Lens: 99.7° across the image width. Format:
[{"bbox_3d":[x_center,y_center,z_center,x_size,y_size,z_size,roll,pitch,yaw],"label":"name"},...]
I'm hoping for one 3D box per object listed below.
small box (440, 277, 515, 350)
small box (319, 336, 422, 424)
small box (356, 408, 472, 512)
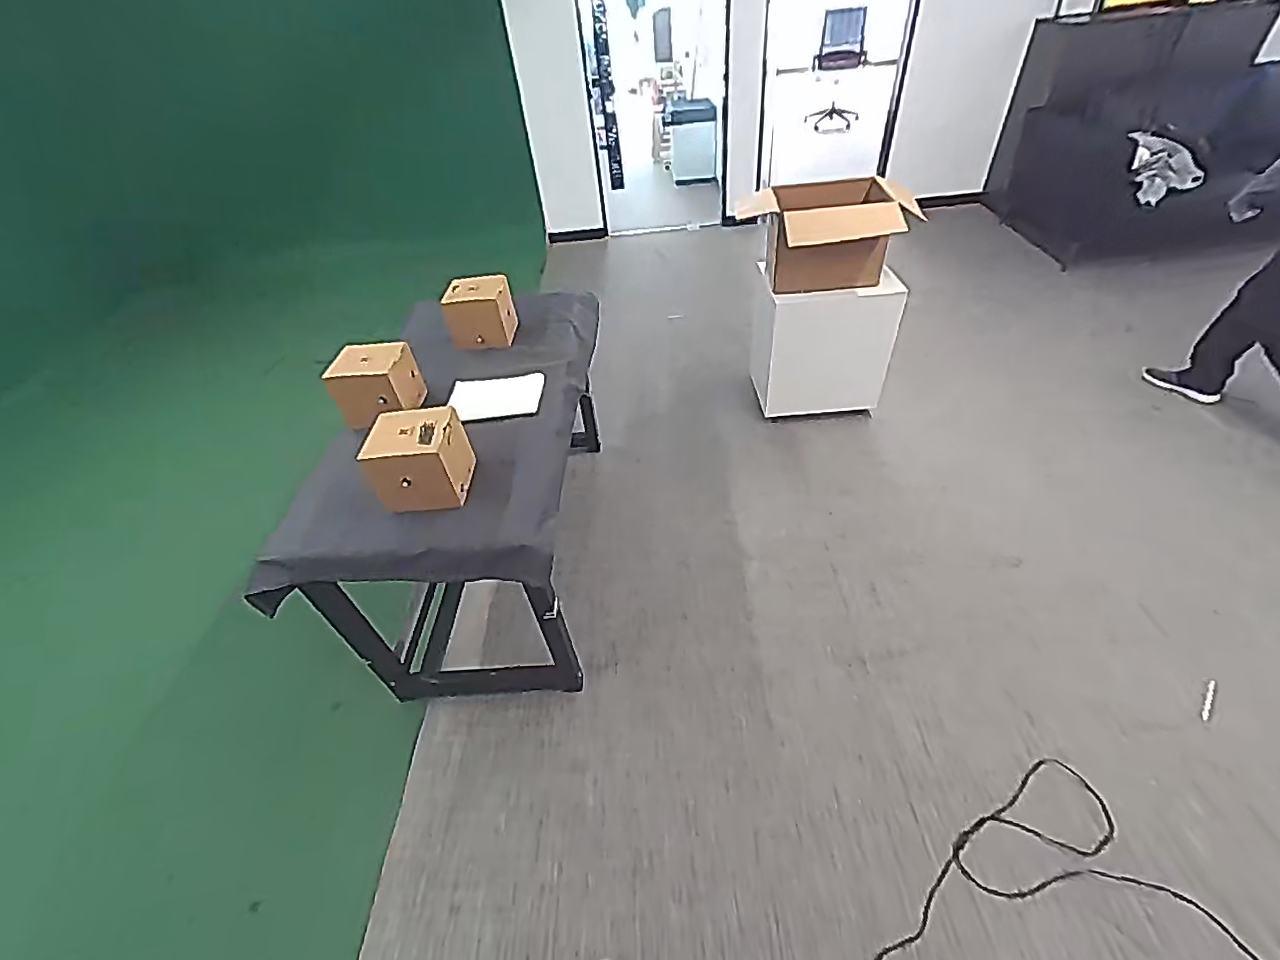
[{"bbox_3d":[-0.512,-0.533,1.738,0.179,0.176,0.168,-2,44,2],"label":"small box"},{"bbox_3d":[-0.717,-0.268,1.464,0.179,0.176,0.168,-4,43,3],"label":"small box"},{"bbox_3d":[-0.498,-0.044,1.227,0.179,0.176,0.168,-5,43,2],"label":"small box"}]
